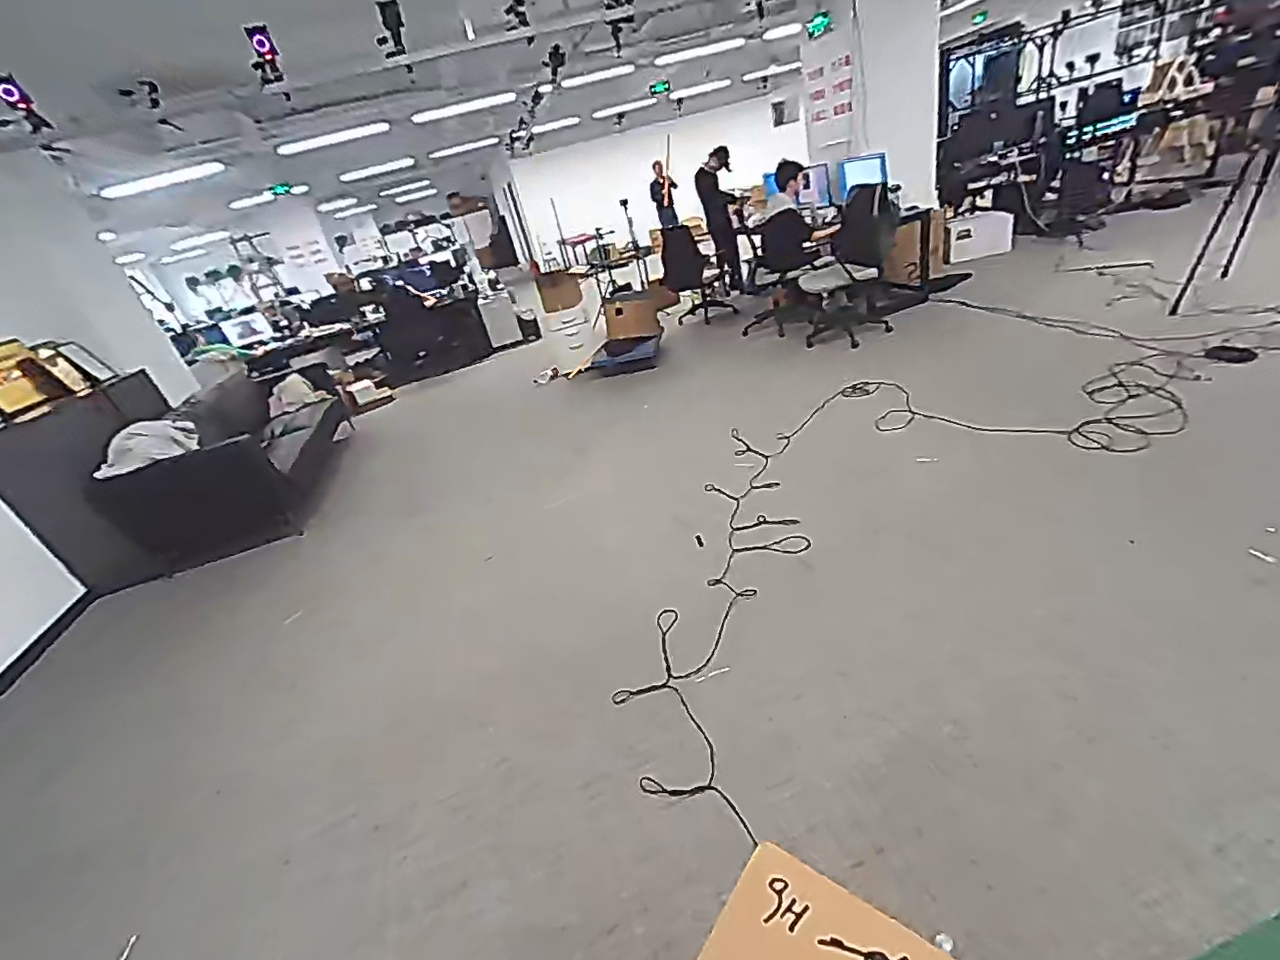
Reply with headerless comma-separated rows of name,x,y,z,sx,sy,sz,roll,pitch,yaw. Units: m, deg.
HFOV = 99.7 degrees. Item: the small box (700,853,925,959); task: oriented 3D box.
small box,0.107,0.357,0.277,0.168,0.176,0.179,9,41,42
